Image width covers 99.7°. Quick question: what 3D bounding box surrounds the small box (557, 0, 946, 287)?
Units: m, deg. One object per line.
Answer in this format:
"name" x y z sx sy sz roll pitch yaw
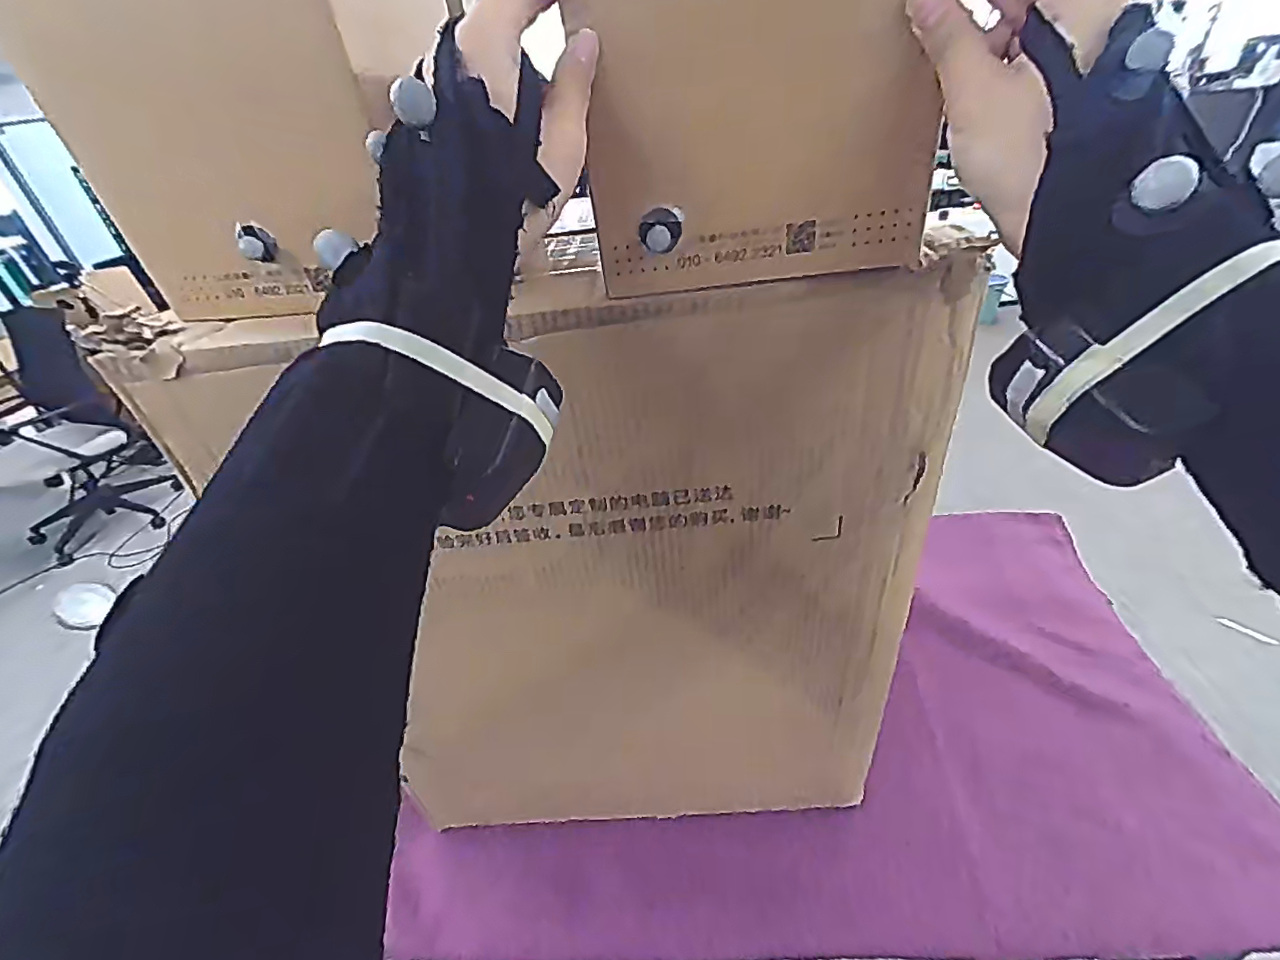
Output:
"small box" 0.055 -0.217 0.308 0.168 0.176 0.179 -5 36 5
